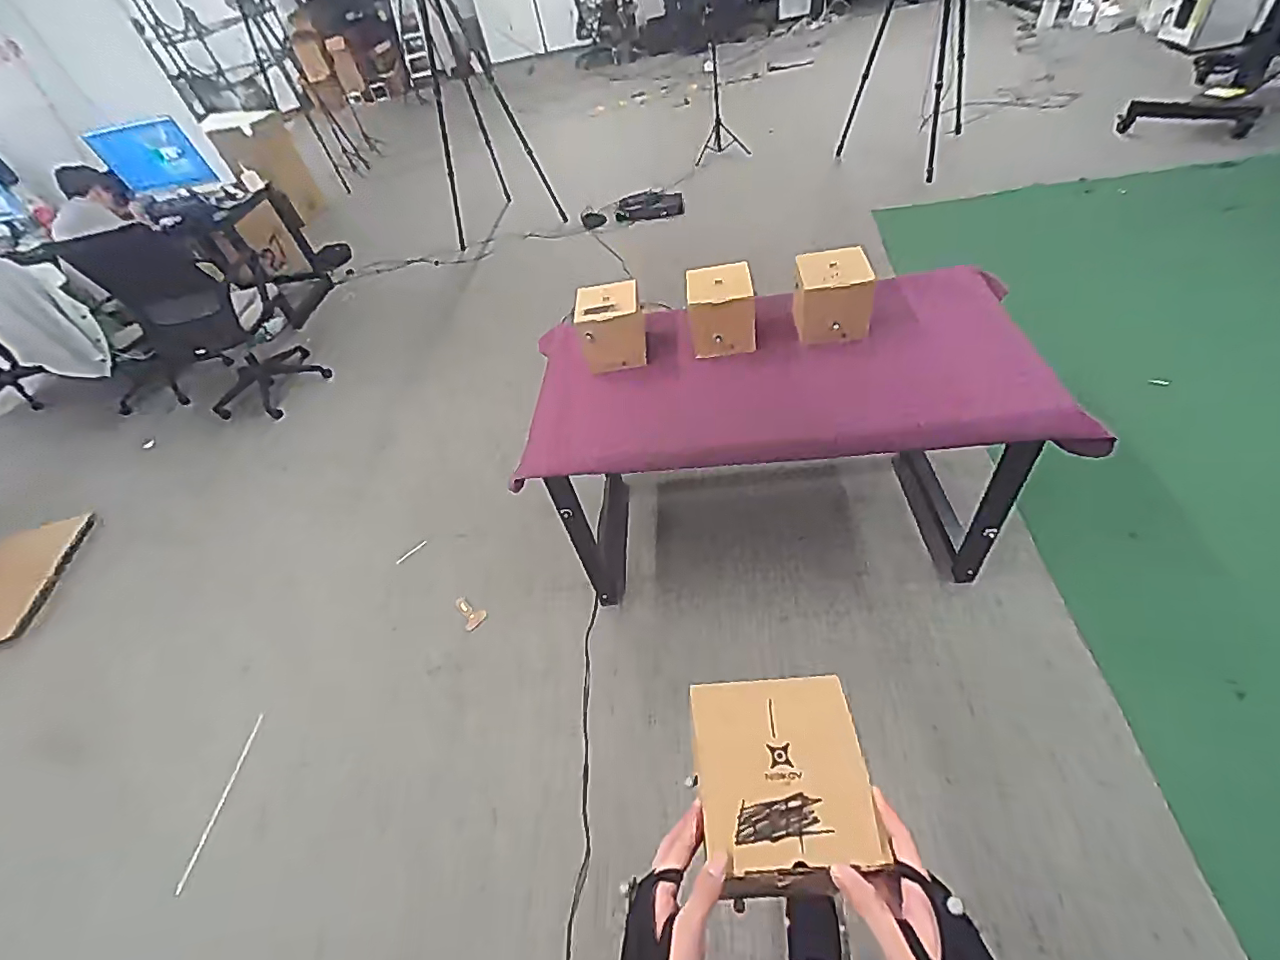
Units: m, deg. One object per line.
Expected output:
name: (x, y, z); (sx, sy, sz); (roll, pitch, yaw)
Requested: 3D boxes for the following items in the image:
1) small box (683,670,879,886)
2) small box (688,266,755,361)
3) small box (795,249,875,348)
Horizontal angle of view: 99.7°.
small box: (0.140, 0.334, 0.599); (0.168, 0.176, 0.179); (-5, 46, 2)
small box: (0.219, -0.445, 1.455); (0.168, 0.176, 0.179); (-6, 49, 9)
small box: (0.495, -0.467, 1.399); (0.168, 0.176, 0.179); (-5, 49, 11)
